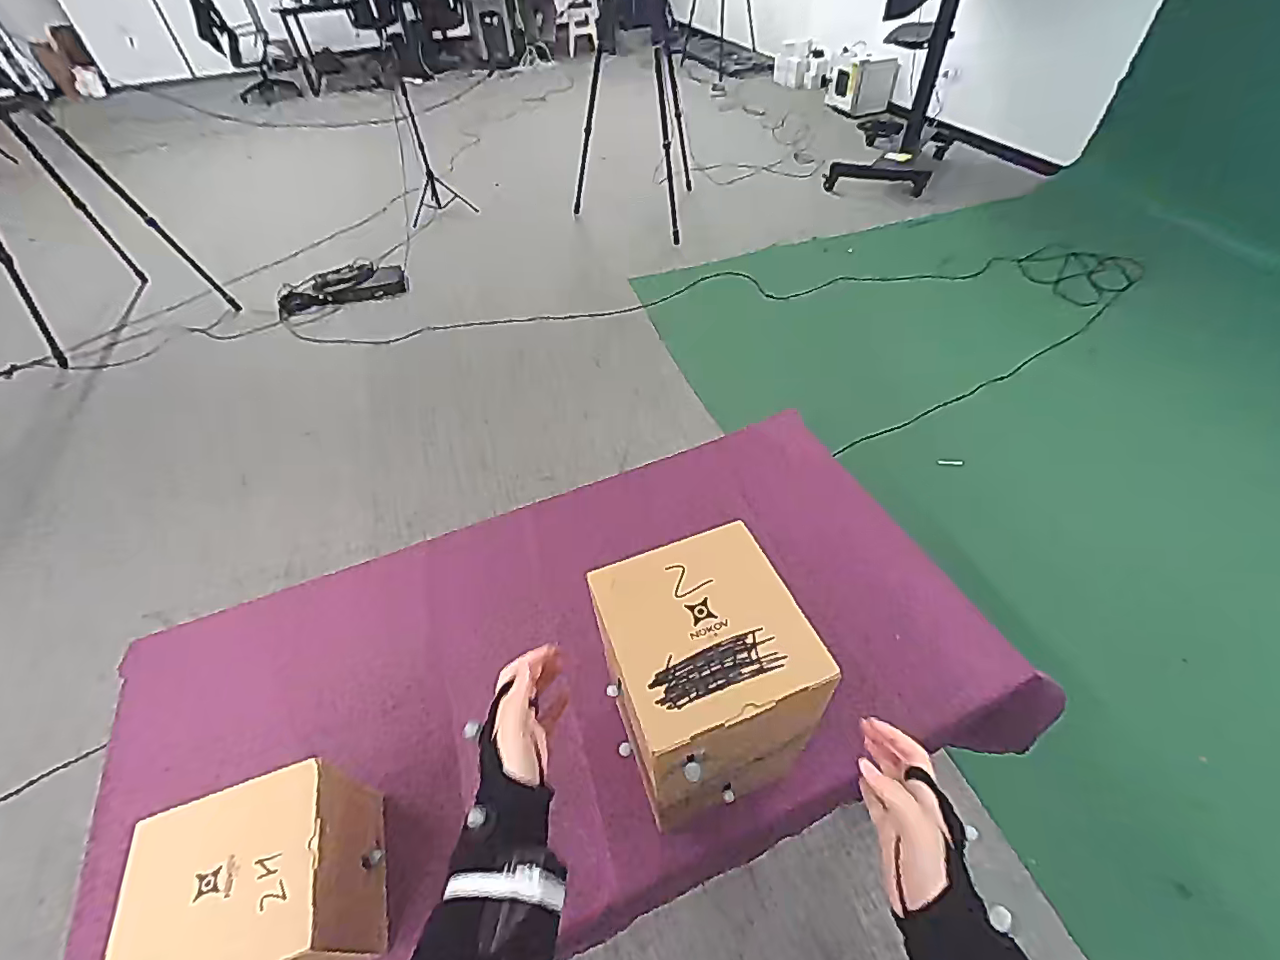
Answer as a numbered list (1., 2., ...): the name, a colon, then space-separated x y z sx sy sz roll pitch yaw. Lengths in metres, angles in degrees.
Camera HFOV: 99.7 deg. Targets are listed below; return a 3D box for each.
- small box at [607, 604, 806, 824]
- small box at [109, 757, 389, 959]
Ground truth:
1. small box: 0.071 0.284 0.656 0.179 0.176 0.168 -18 49 -10
2. small box: -0.384 0.426 0.562 0.179 0.176 0.168 -17 49 -11
